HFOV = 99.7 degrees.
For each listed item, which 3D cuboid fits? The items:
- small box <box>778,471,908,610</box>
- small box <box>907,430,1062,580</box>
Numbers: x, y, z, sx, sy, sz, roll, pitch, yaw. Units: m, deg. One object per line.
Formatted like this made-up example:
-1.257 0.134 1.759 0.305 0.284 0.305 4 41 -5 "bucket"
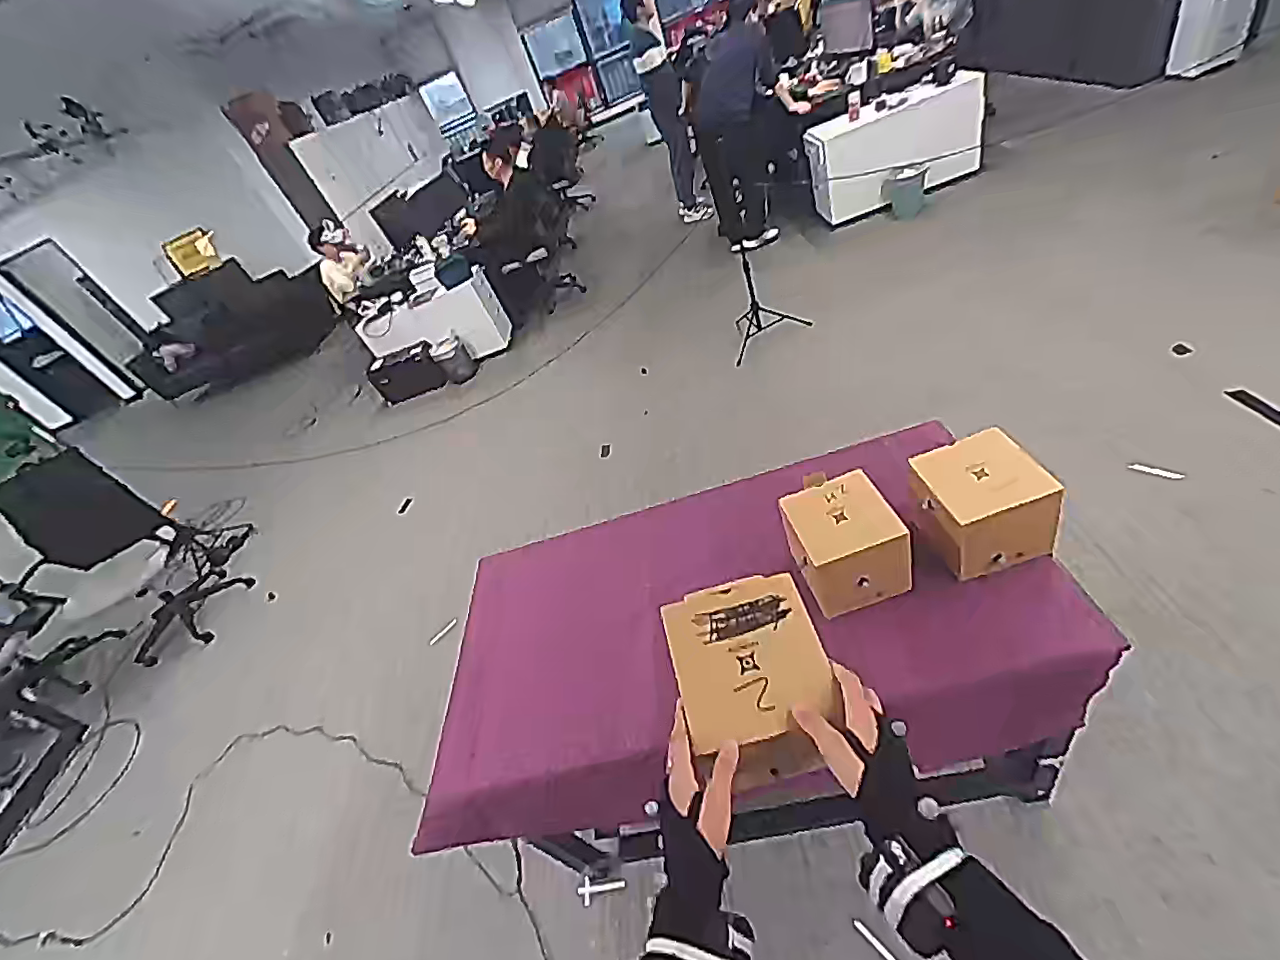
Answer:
0.379 0.120 1.008 0.168 0.176 0.179 -21 39 6 "small box"
0.603 0.045 0.968 0.168 0.176 0.179 -21 38 8 "small box"
